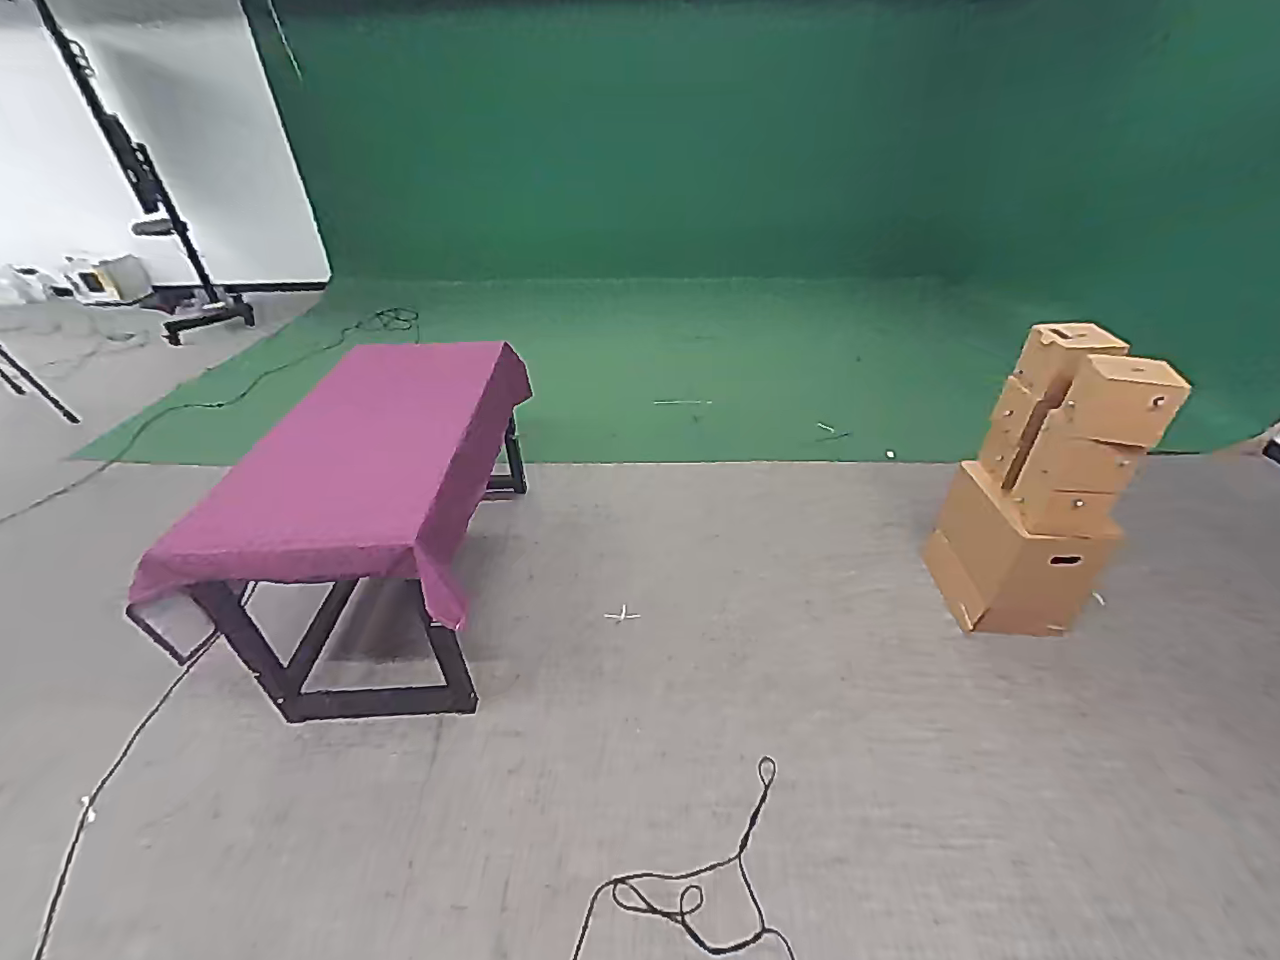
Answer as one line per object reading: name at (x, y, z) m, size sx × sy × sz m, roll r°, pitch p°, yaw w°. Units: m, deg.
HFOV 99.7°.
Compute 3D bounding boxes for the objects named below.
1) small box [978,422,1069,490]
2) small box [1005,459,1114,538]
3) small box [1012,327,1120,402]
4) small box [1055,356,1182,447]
small box at (1.259, -0.078, 1.798) m, size 0.179 × 0.176 × 0.168 m, roll 0°, pitch 38°, yaw 3°
small box at (1.235, 0.056, 1.607) m, size 0.179 × 0.176 × 0.168 m, roll 3°, pitch 35°, yaw 8°
small box at (1.243, -0.340, 1.601) m, size 0.179 × 0.176 × 0.168 m, roll 0°, pitch 38°, yaw 1°
small box at (1.227, -0.203, 1.403) m, size 0.179 × 0.176 × 0.168 m, roll 11°, pitch 36°, yaw 17°
